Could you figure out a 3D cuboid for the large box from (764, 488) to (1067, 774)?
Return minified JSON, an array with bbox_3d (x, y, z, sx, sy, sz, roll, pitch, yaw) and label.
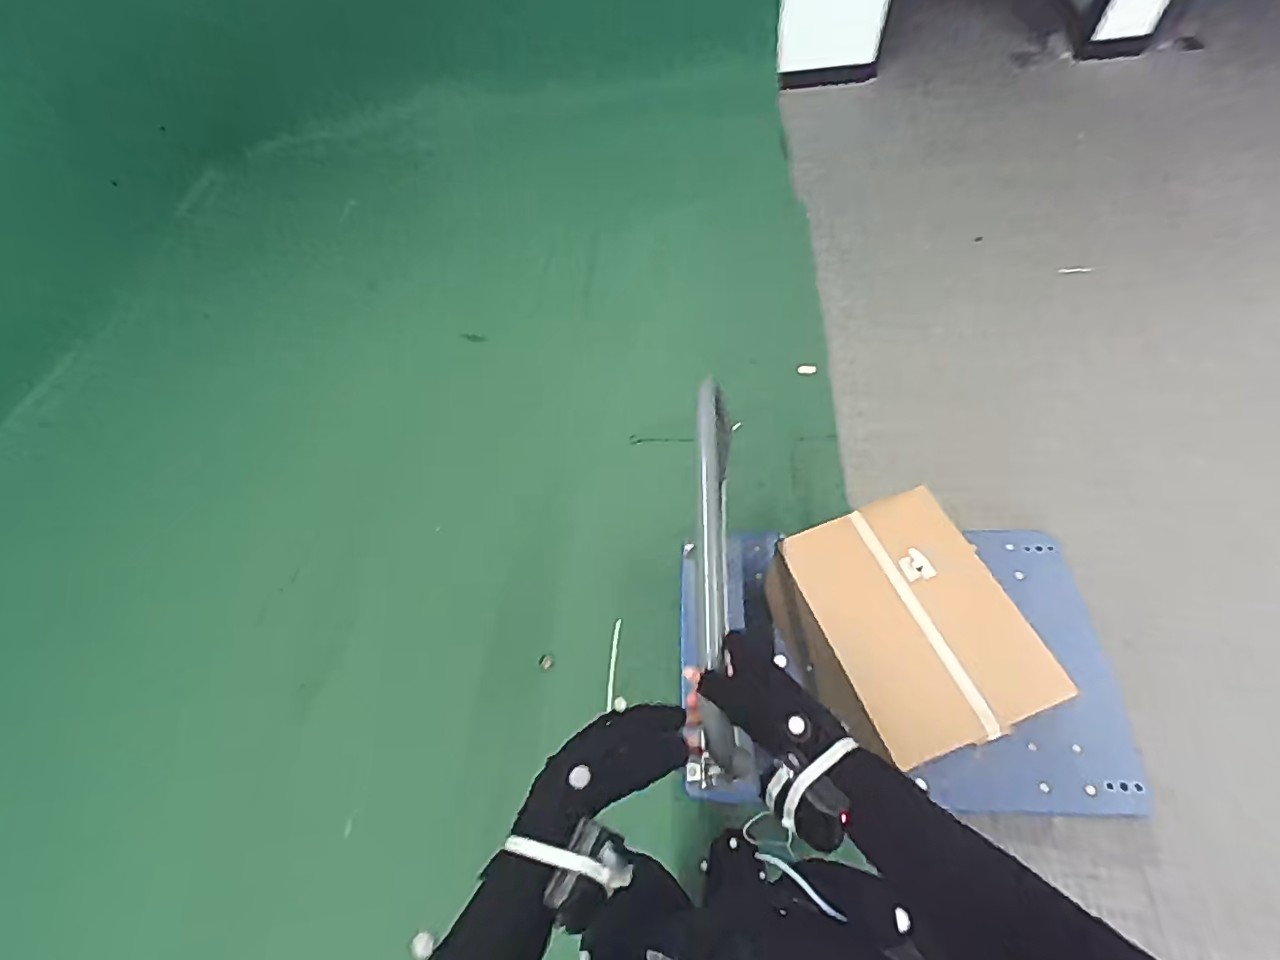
[{"bbox_3d":[0.476,0.298,1.054,0.320,0.320,0.408,-21,58,-5],"label":"large box"}]
